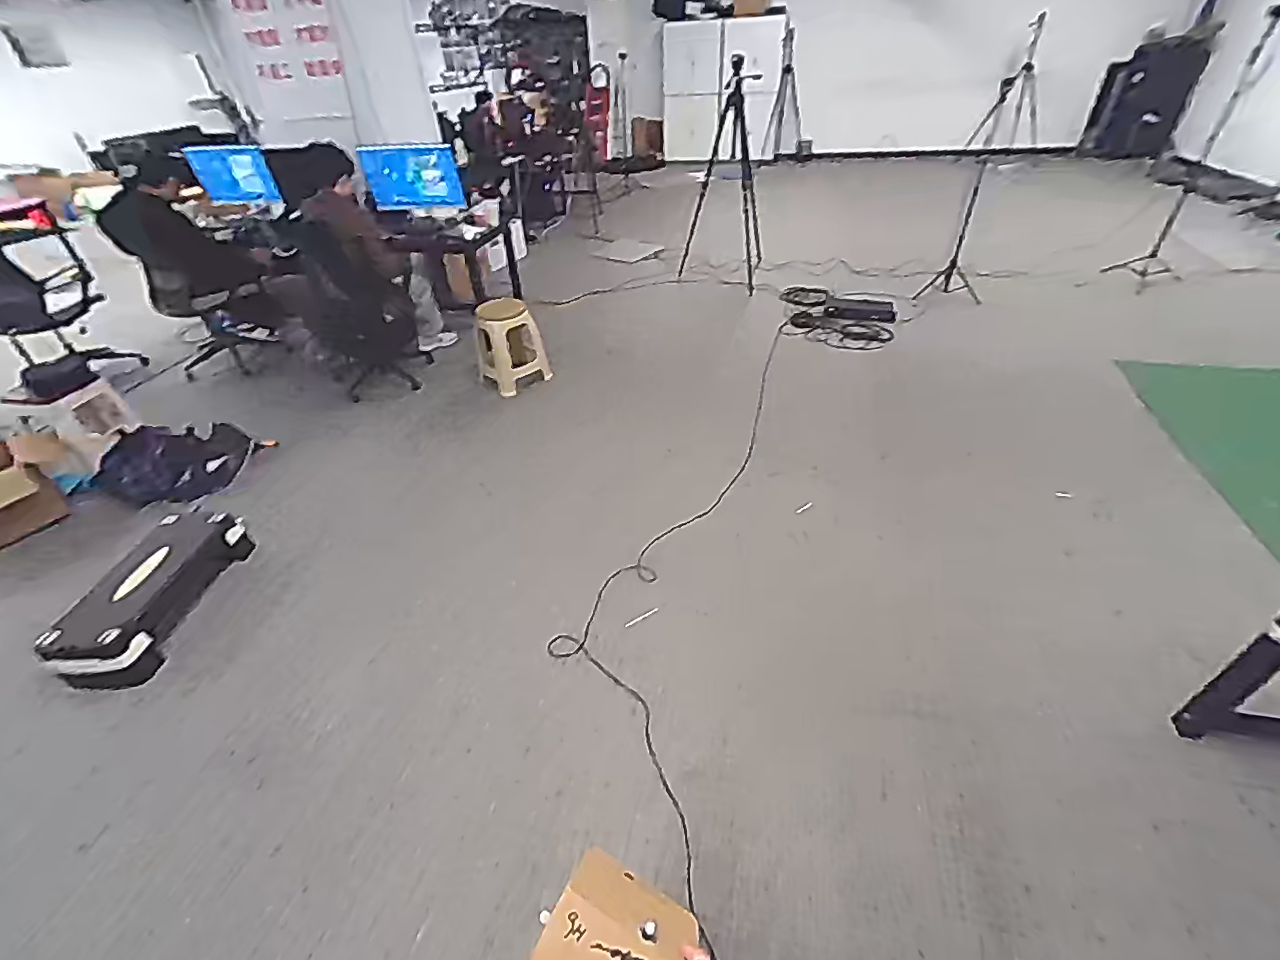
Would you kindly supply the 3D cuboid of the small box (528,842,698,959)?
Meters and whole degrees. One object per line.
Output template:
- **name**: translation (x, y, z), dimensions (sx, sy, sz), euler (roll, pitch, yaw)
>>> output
- **small box**: translation (-0.038, 0.573, 0.630), dimensions (0.168, 0.176, 0.179), euler (27, 75, 15)
